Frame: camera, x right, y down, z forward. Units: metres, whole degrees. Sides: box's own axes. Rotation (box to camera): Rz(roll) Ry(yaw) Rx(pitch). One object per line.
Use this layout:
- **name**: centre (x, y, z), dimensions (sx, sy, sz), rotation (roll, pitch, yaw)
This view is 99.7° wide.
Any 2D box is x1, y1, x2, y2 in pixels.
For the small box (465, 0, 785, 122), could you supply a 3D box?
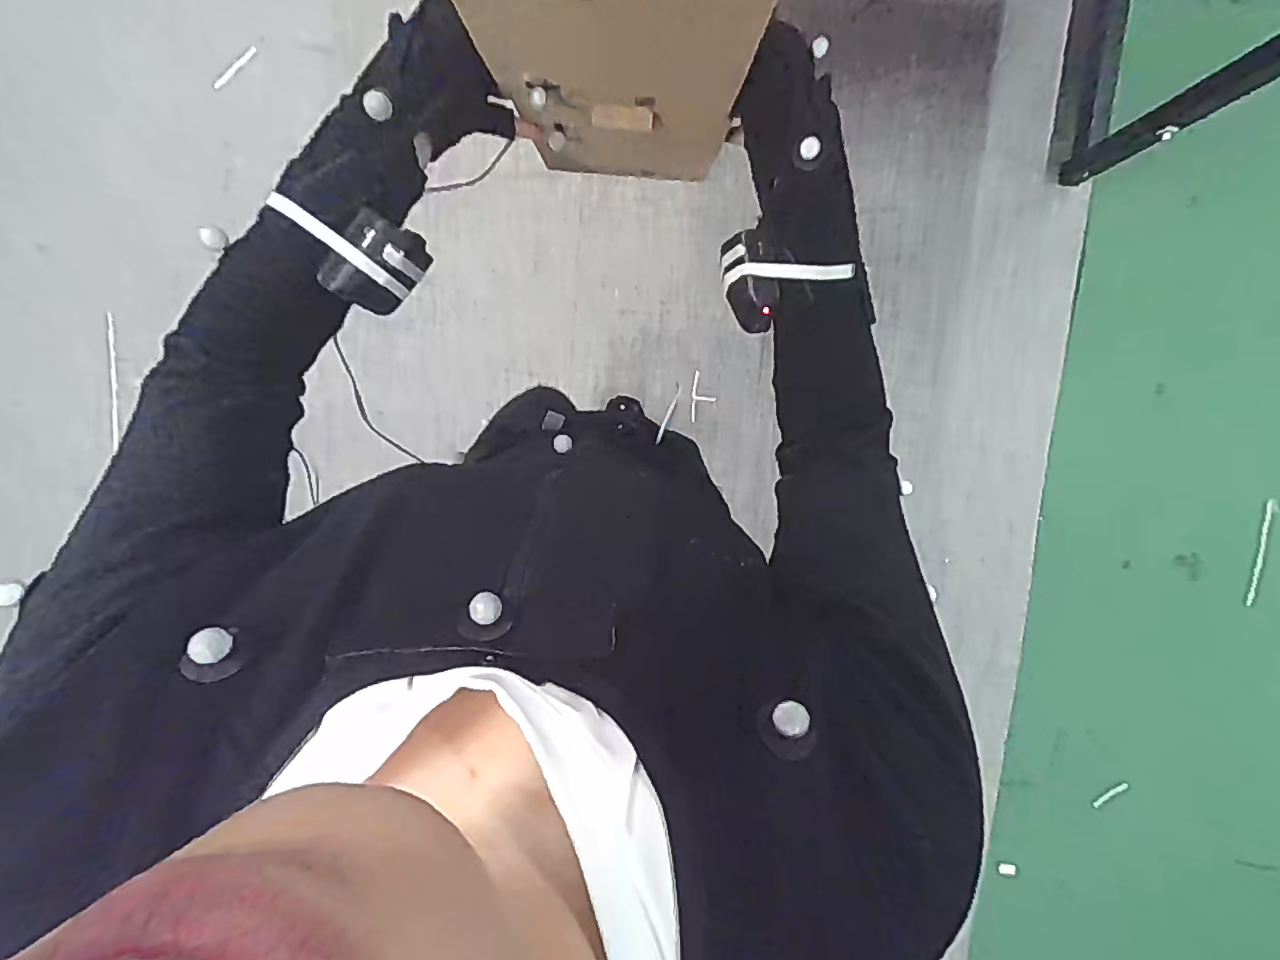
- **small box**: centre (-0.003, -0.326, 0.289), dimensions (0.168, 0.176, 0.179), rotation (8, 105, -5)
